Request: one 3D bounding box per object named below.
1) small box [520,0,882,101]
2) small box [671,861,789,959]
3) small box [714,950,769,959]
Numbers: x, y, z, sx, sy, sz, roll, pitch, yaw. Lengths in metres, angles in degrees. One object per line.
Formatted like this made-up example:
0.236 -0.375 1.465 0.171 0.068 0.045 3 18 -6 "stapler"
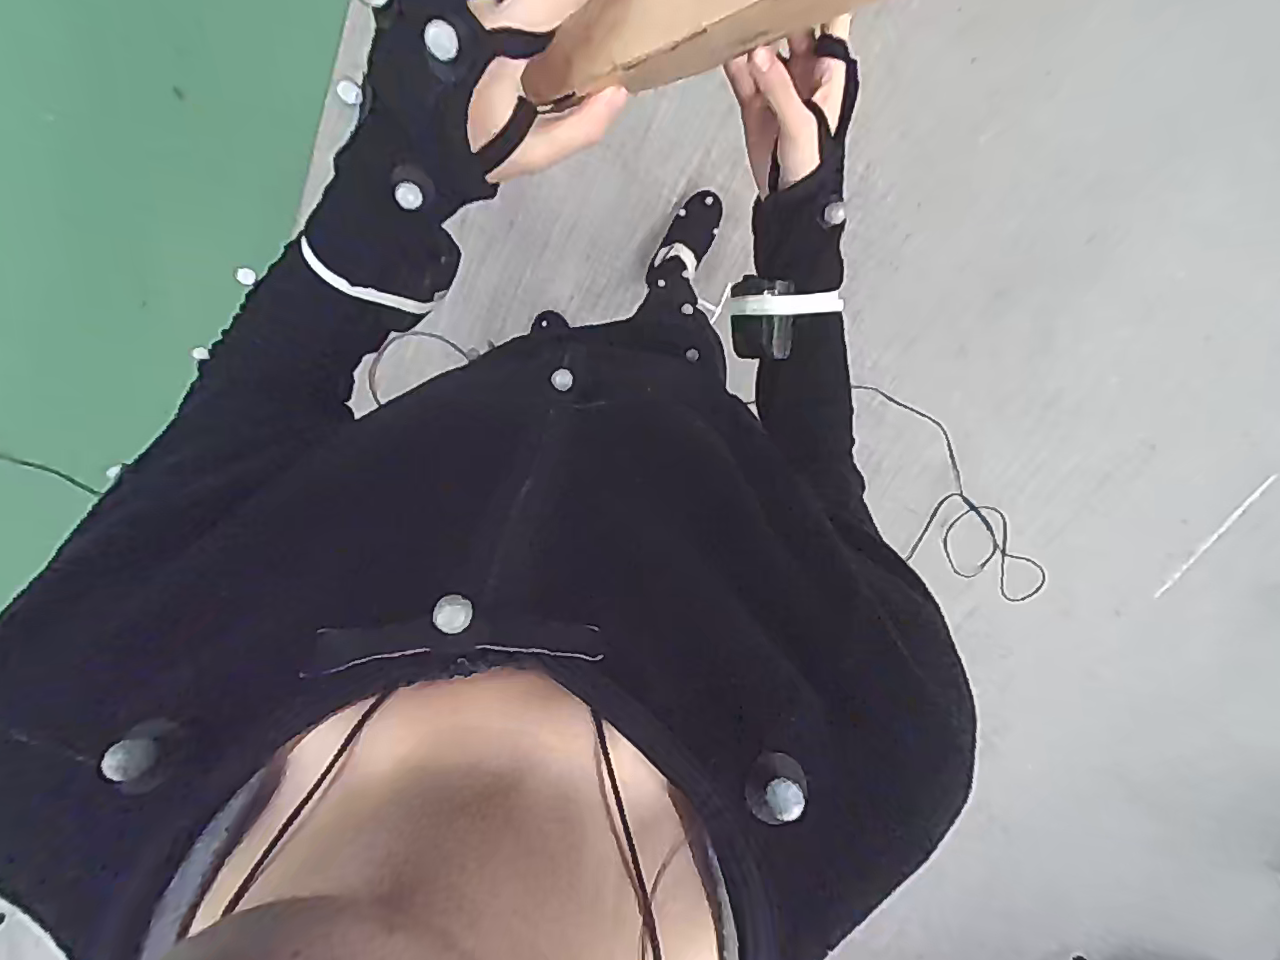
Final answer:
0.034 -0.295 0.232 0.168 0.179 0.176 9 130 36 "small box"
0.166 0.900 1.071 0.168 0.176 0.179 19 112 -9 "small box"
0.183 0.943 0.911 0.179 0.176 0.168 19 111 -9 "small box"
